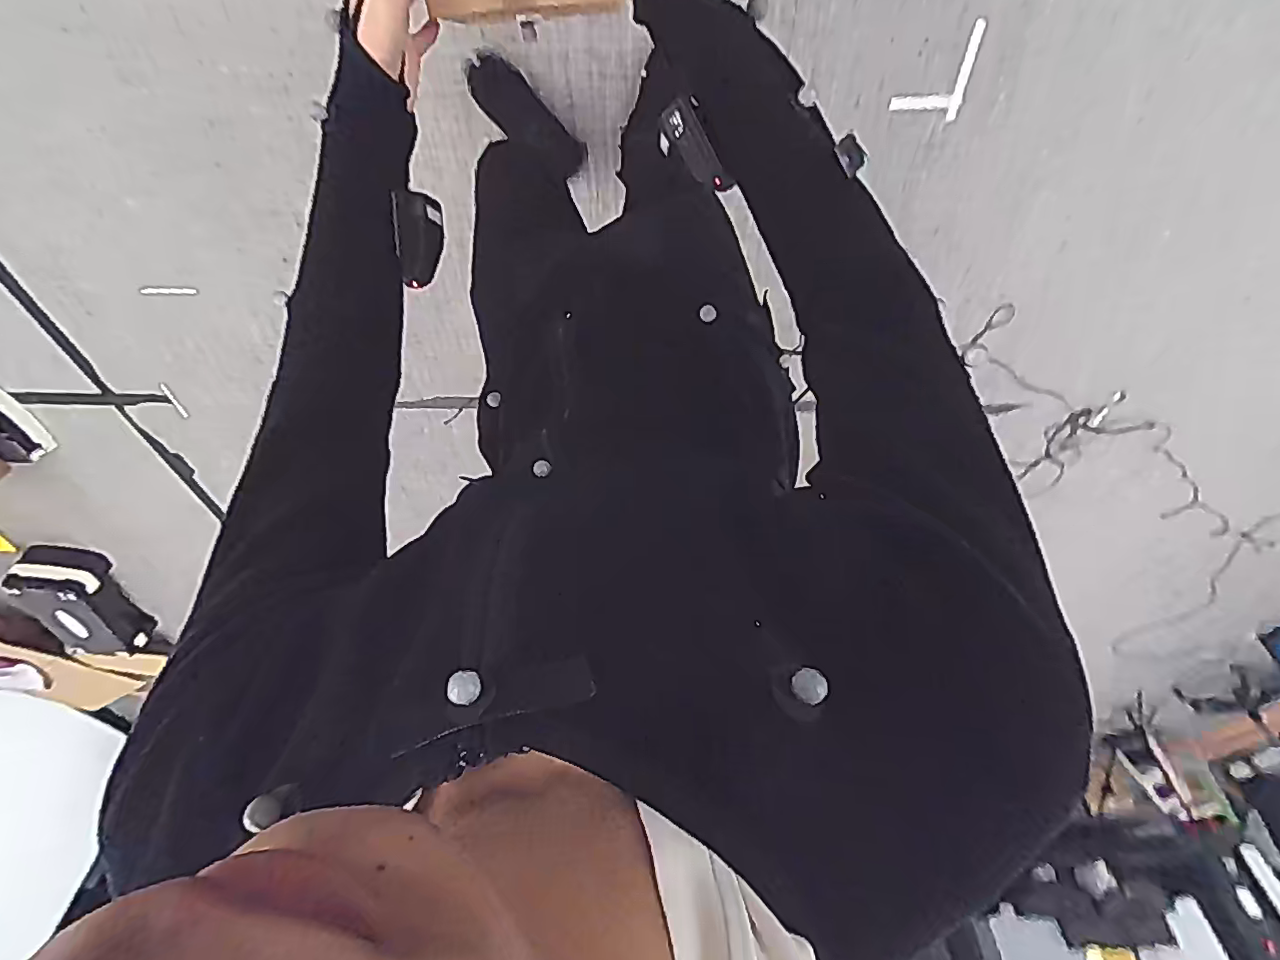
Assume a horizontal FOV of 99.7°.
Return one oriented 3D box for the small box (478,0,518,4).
[{"bbox_3d":[-0.104,-0.527,0.451,0.168,0.176,0.179,-4,128,2],"label":"small box"}]
